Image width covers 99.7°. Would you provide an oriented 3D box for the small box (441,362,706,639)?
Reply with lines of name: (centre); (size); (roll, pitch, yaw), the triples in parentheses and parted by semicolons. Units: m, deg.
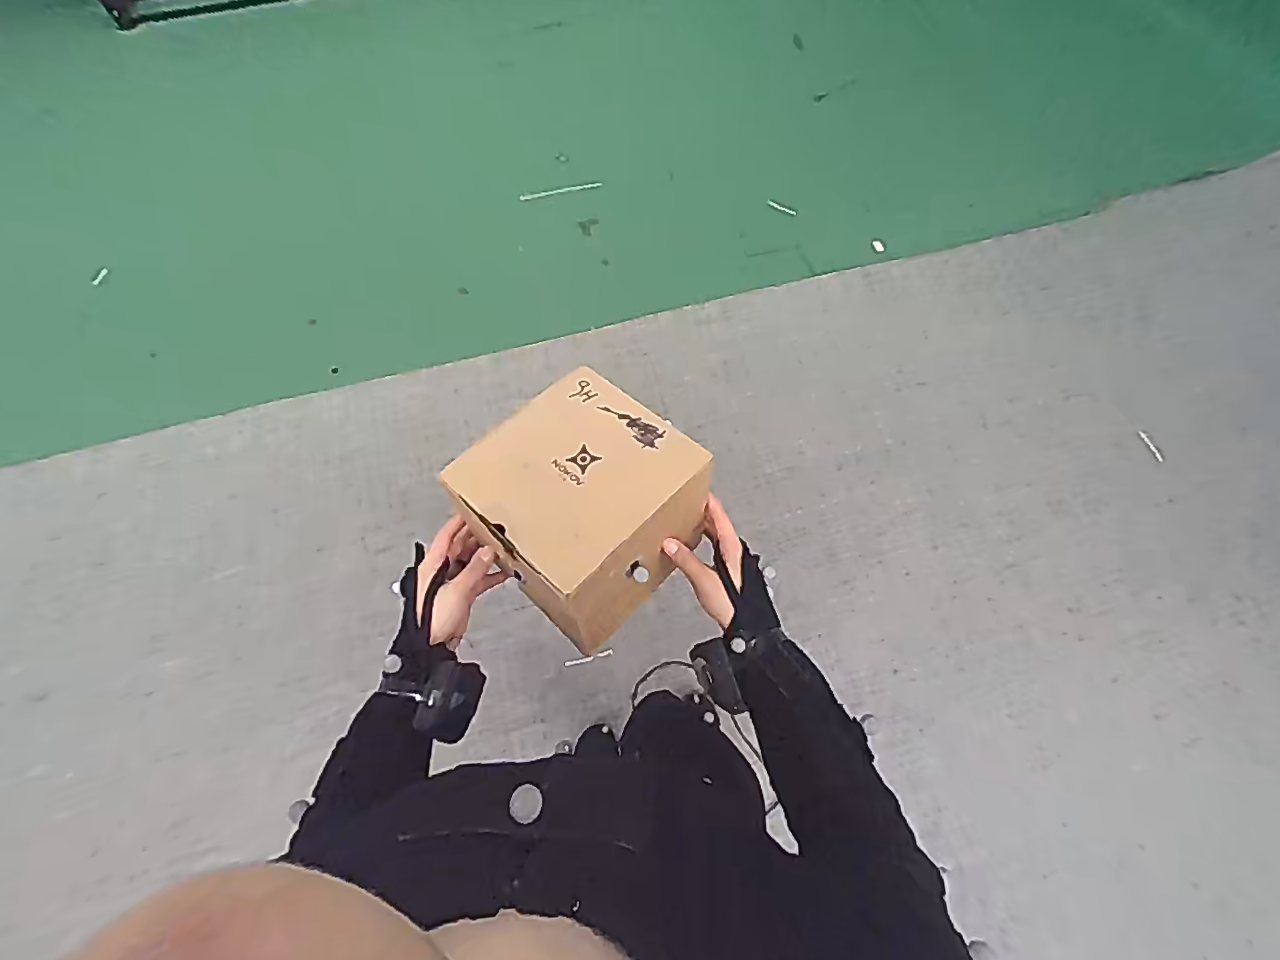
small box: (-0.053, 0.027, 0.533); (0.168, 0.176, 0.179); (38, 67, 22)
